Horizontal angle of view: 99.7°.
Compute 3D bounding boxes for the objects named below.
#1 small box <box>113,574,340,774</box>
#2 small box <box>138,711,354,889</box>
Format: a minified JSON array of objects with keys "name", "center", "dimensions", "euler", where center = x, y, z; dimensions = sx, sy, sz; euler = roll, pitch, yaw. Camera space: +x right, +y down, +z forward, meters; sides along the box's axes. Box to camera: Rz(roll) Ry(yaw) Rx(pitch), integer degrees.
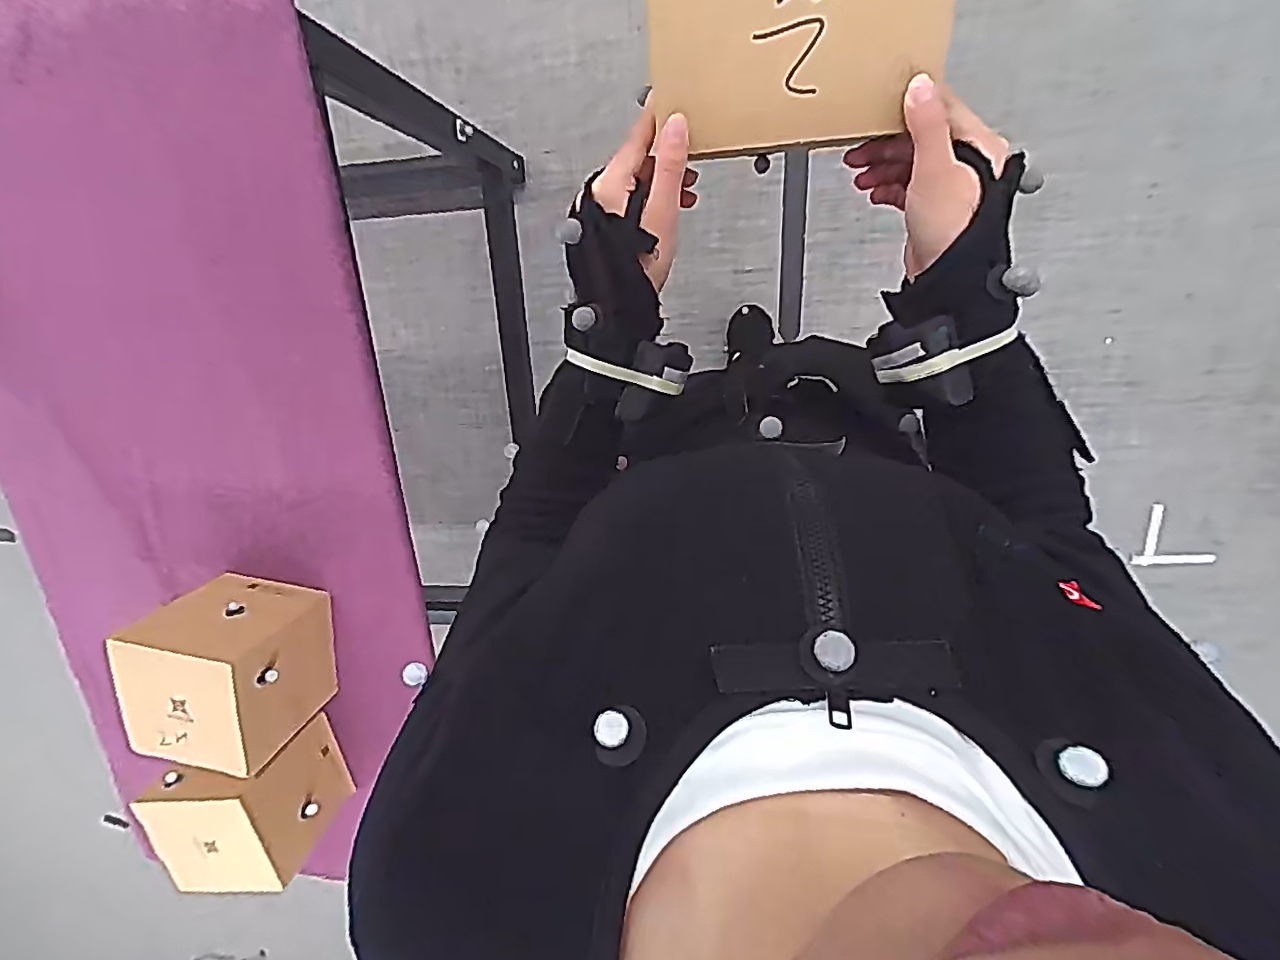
[{"name":"small box","center":[-0.535,0.247,0.727],"dimensions":[0.168,0.176,0.179],"euler":[9,109,7]},{"name":"small box","center":[-0.562,0.465,0.804],"dimensions":[0.179,0.176,0.168],"euler":[-8,107,11]}]
